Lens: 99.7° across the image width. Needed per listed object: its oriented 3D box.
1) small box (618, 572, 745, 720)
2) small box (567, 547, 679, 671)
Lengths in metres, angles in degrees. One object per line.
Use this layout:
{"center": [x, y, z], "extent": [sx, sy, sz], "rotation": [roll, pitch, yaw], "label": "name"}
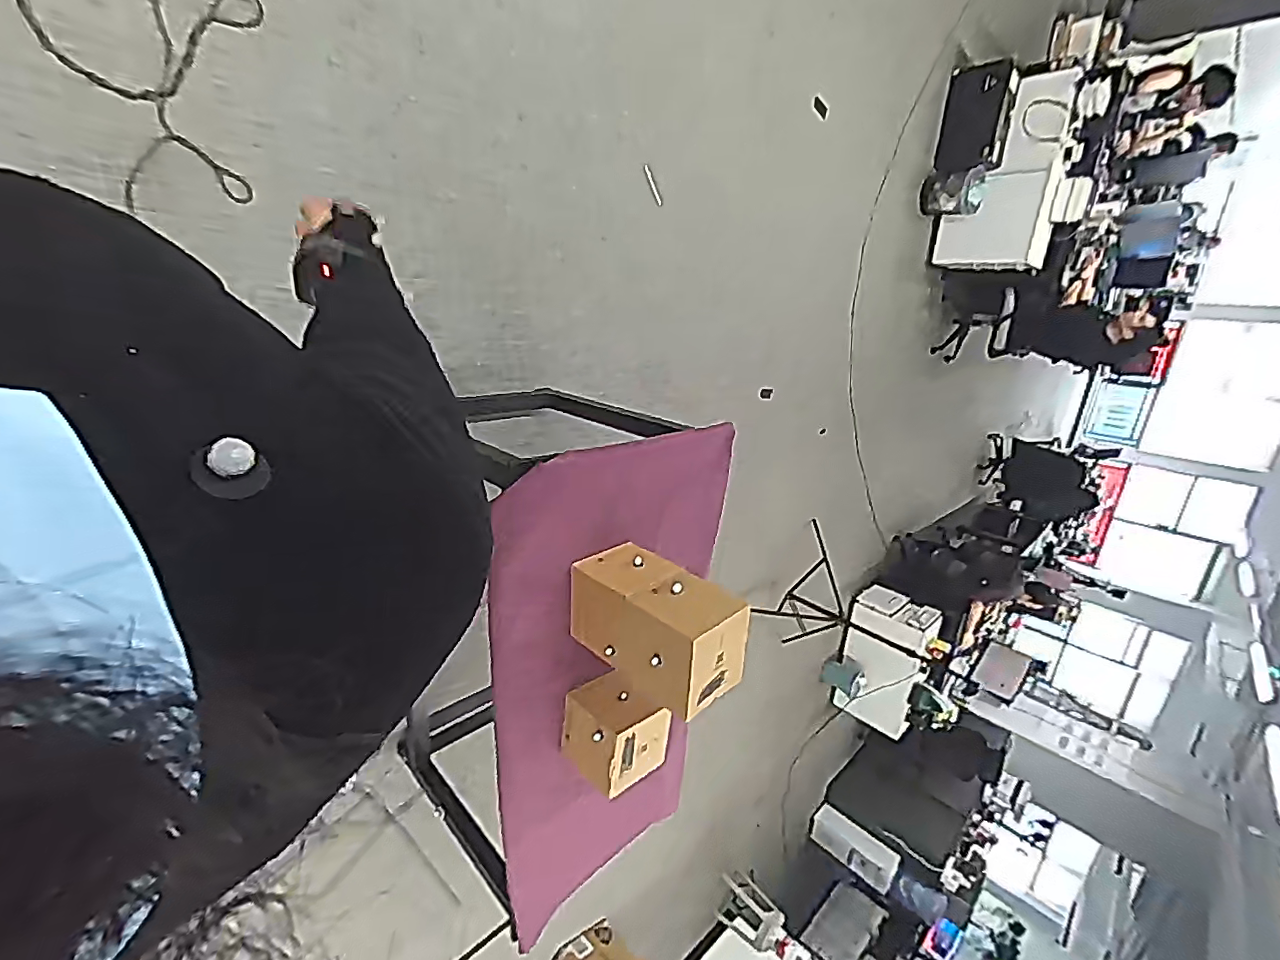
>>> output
{"center": [0.073, 0.301, 1.015], "extent": [0.168, 0.176, 0.179], "rotation": [-17, 117, -43], "label": "small box"}
{"center": [-0.039, 0.254, 1.126], "extent": [0.168, 0.176, 0.179], "rotation": [-16, 117, -42], "label": "small box"}
